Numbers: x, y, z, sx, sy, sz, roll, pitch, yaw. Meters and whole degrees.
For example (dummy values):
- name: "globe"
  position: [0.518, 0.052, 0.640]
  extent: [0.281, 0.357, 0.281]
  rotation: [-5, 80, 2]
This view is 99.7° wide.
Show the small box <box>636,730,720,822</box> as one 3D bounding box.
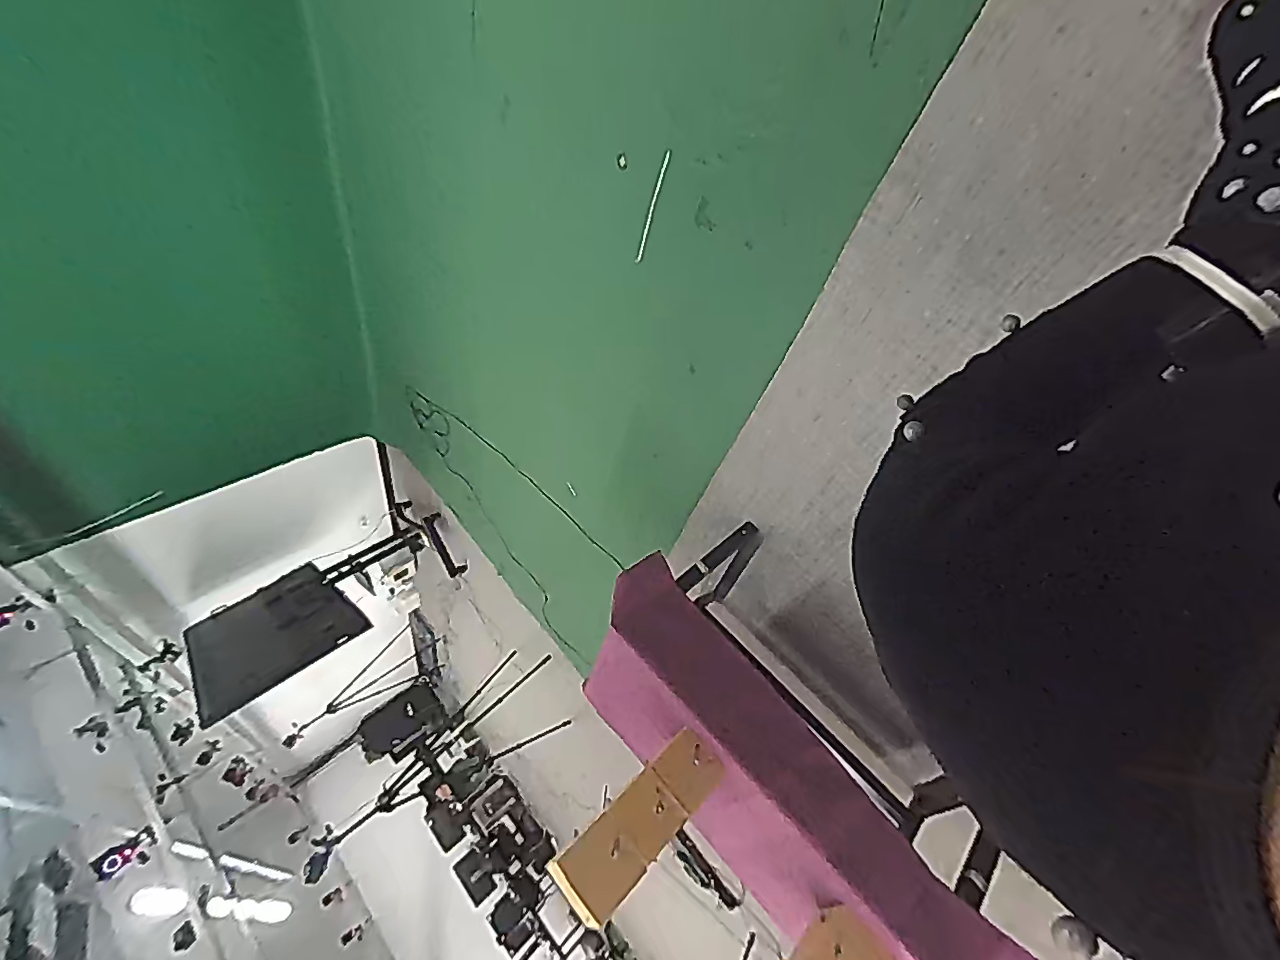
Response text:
- name: "small box"
  position: [0.108, 0.874, 1.587]
  extent: [0.168, 0.176, 0.179]
  rotation: [44, 142, 18]

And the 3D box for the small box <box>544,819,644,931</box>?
- name: "small box"
  position: [-0.120, 1.010, 1.396]
  extent: [0.179, 0.176, 0.168]
  rotation: [47, 143, 18]

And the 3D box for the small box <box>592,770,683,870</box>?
- name: "small box"
  position: [-0.007, 0.941, 1.494]
  extent: [0.168, 0.176, 0.179]
  rotation: [45, 142, 19]
